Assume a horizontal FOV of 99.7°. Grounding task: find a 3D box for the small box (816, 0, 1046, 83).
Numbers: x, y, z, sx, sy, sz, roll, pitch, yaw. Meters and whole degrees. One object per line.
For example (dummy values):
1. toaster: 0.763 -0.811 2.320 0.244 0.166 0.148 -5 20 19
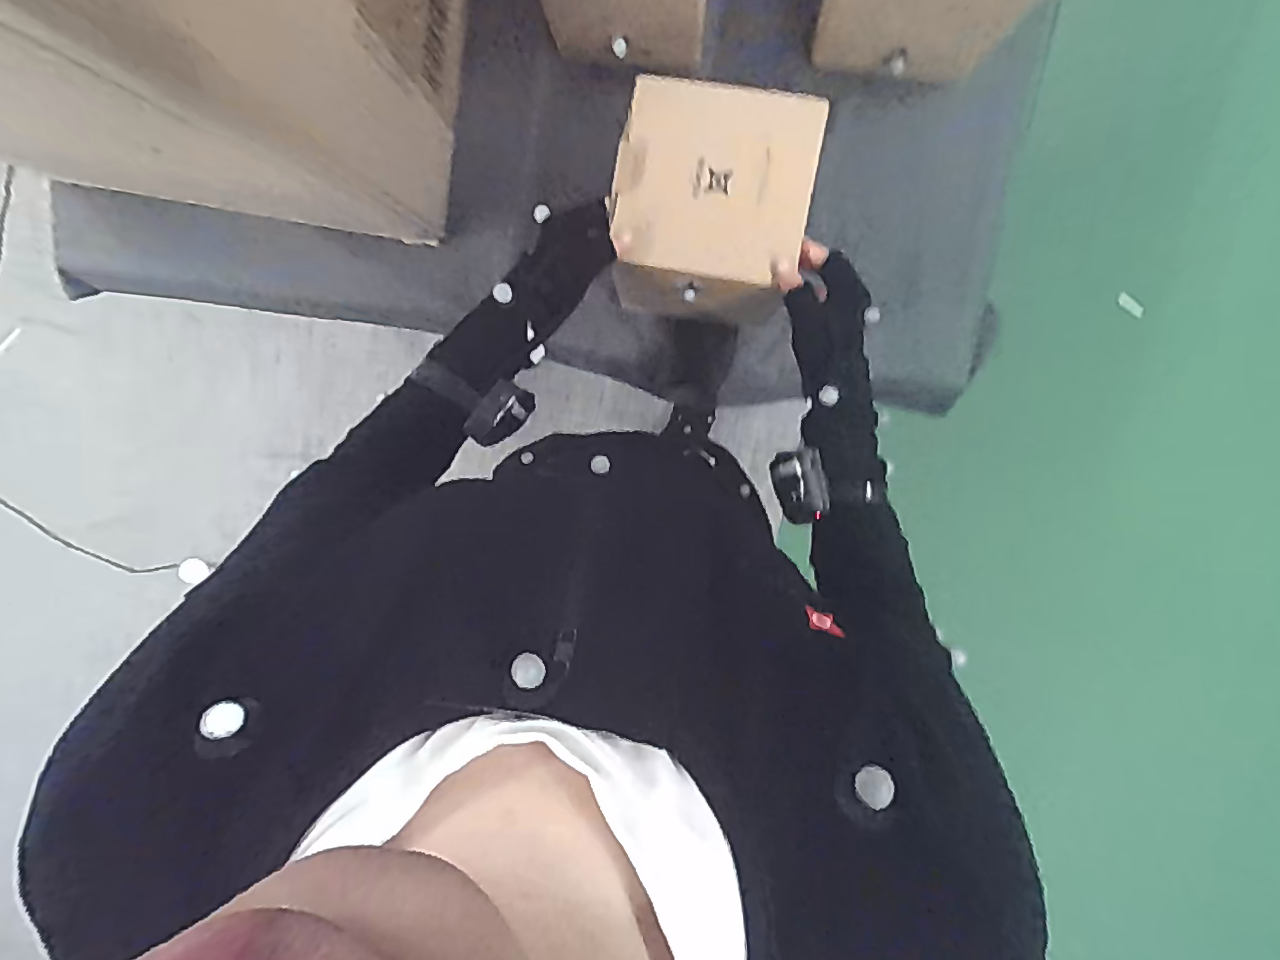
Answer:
1. small box: 0.295 -0.531 0.533 0.179 0.176 0.168 9 99 2
